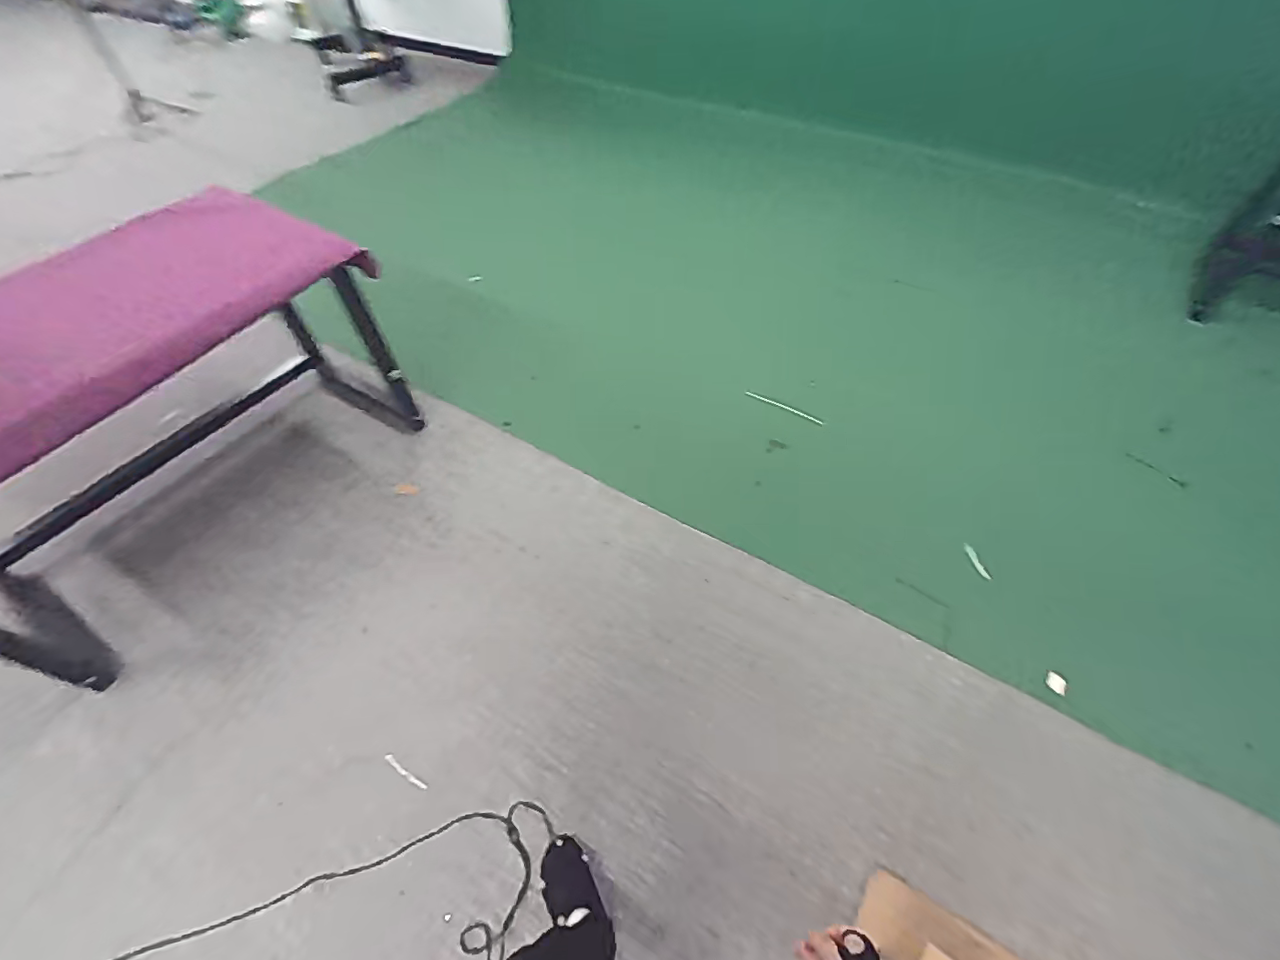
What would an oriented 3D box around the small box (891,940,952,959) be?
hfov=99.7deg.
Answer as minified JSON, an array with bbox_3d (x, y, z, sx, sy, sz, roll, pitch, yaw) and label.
[{"bbox_3d":[0.549,0.988,0.985,0.179,0.176,0.168,32,61,22],"label":"small box"}]
